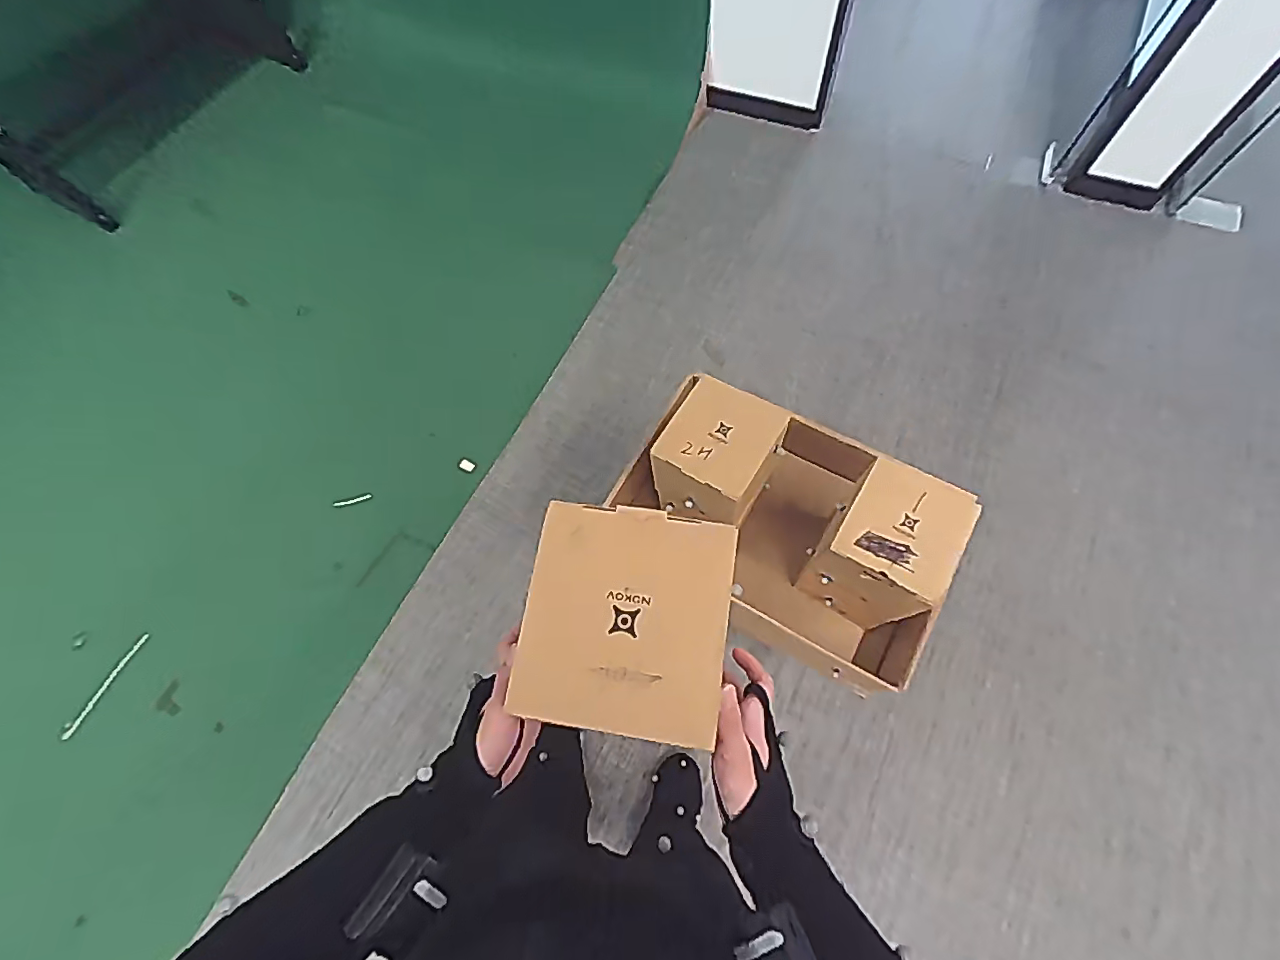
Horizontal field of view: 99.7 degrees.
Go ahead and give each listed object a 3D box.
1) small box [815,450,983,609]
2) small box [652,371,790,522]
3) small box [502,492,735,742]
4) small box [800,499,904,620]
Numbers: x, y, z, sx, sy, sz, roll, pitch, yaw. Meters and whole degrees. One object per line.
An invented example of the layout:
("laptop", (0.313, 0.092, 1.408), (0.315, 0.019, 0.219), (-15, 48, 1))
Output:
("small box", (0.398, 0.088, 0.864), (0.168, 0.176, 0.179), (29, 74, 15))
("small box", (0.137, -0.050, 0.944), (0.168, 0.176, 0.179), (30, 74, 16))
("small box", (-0.009, 0.127, 0.510), (0.168, 0.176, 0.179), (7, 73, 7))
("small box", (0.419, 0.142, 1.019), (0.168, 0.176, 0.179), (28, 75, 15))
